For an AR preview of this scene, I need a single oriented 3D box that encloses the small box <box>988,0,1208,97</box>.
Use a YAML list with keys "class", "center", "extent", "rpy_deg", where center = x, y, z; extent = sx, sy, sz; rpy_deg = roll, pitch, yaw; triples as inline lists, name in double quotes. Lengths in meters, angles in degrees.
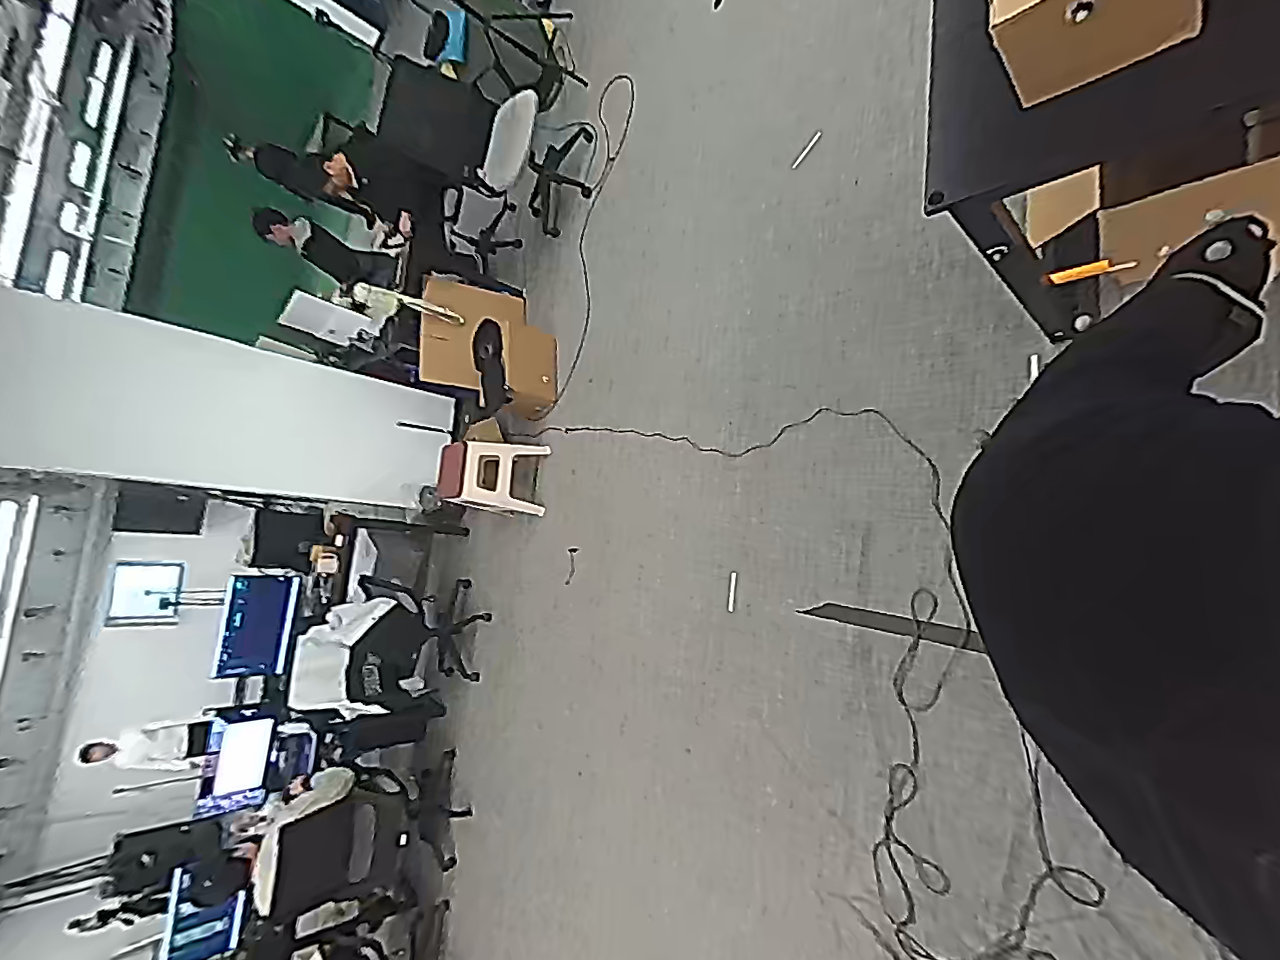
- class: "small box"
  center: [0.538, -0.608, 0.637]
  extent: [0.179, 0.176, 0.168]
  rpy_deg: [-1, 83, 48]
